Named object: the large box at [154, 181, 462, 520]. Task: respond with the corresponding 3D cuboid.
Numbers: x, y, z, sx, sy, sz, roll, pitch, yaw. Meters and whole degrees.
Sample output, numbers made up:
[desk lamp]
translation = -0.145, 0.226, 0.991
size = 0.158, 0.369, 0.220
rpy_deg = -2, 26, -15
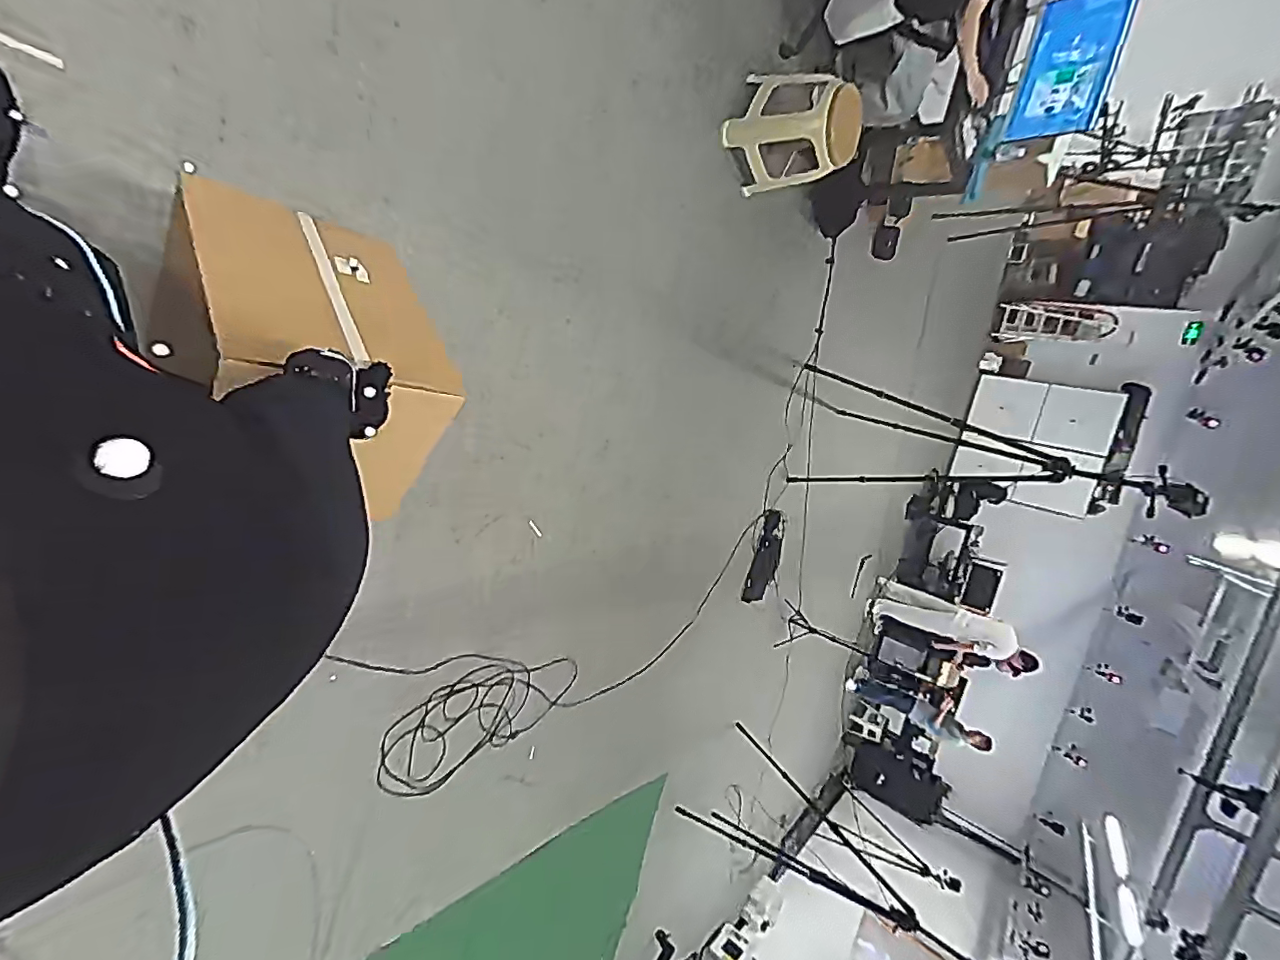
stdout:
[large box]
translation = -0.558, -0.186, 0.887
size = 0.320, 0.408, 0.320
rpy_deg = 3, 137, -50
